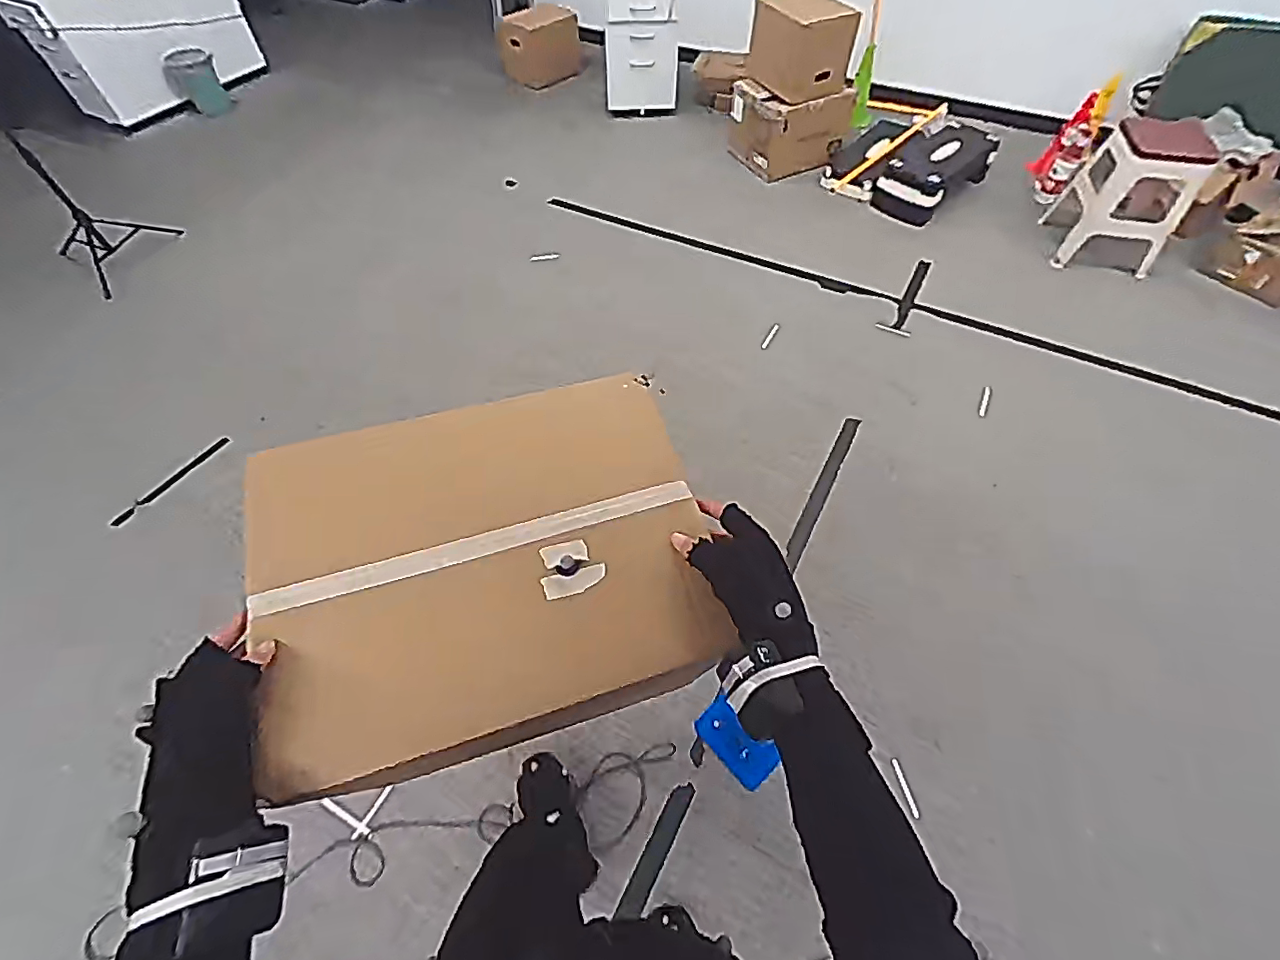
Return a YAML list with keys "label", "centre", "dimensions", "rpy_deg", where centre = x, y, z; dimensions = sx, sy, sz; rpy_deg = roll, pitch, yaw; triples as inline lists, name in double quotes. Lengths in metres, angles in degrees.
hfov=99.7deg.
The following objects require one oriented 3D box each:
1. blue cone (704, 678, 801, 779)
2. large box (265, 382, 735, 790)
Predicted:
- label: "blue cone"
  centre: [0.277, 0.521, 1.207]
  dimensions: [0.192, 0.380, 0.193]
  rpy_deg: [-34, 62, -21]
- label: "large box"
  centre: [-0.156, 0.133, 0.654]
  dimensions: [0.408, 0.320, 0.320]
  rpy_deg: [-14, 65, -12]
